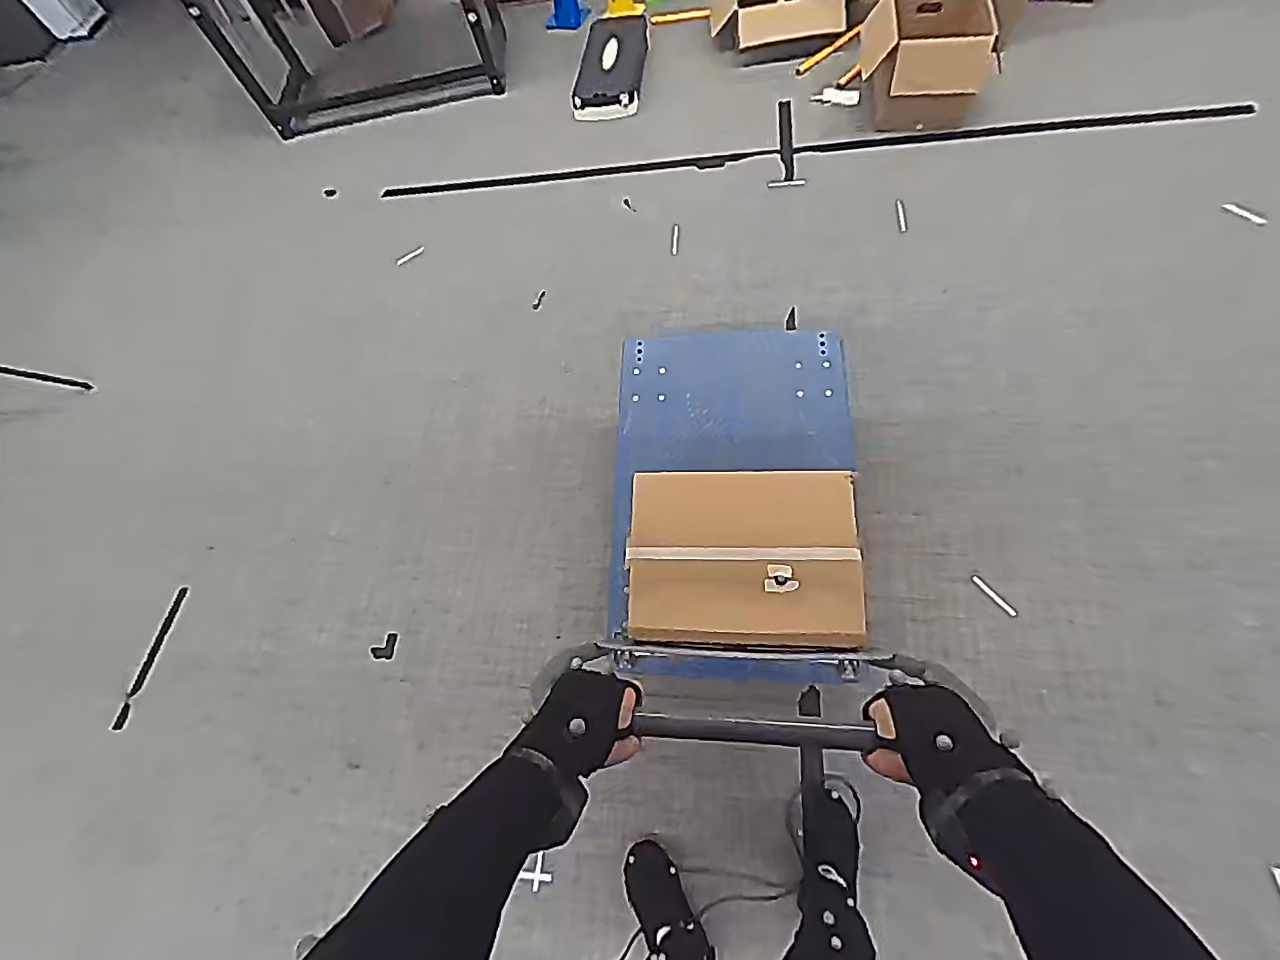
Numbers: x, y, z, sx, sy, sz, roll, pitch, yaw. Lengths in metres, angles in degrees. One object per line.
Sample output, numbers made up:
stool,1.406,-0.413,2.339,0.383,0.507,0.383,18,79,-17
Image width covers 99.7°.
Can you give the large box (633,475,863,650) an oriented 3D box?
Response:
large box,0.203,0.188,1.126,0.408,0.320,0.320,-1,72,7
